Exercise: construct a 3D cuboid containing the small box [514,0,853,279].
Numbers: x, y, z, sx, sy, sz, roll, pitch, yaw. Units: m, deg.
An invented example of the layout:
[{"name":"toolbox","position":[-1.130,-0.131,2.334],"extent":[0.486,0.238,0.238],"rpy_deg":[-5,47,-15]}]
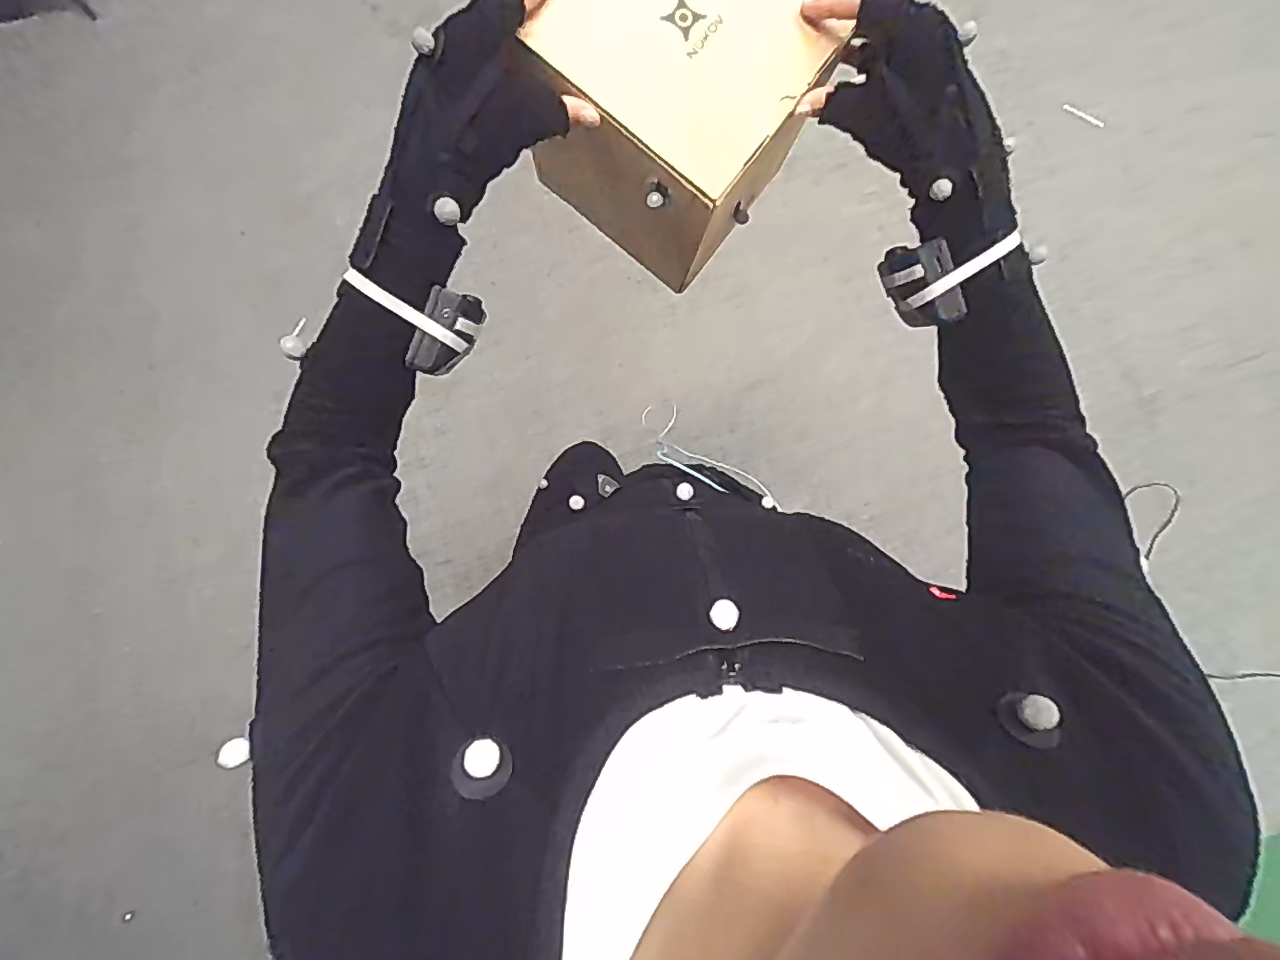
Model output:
[{"name":"small box","position":[0.024,-0.301,0.443],"extent":[0.179,0.176,0.168],"rpy_deg":[38,86,-4]}]
